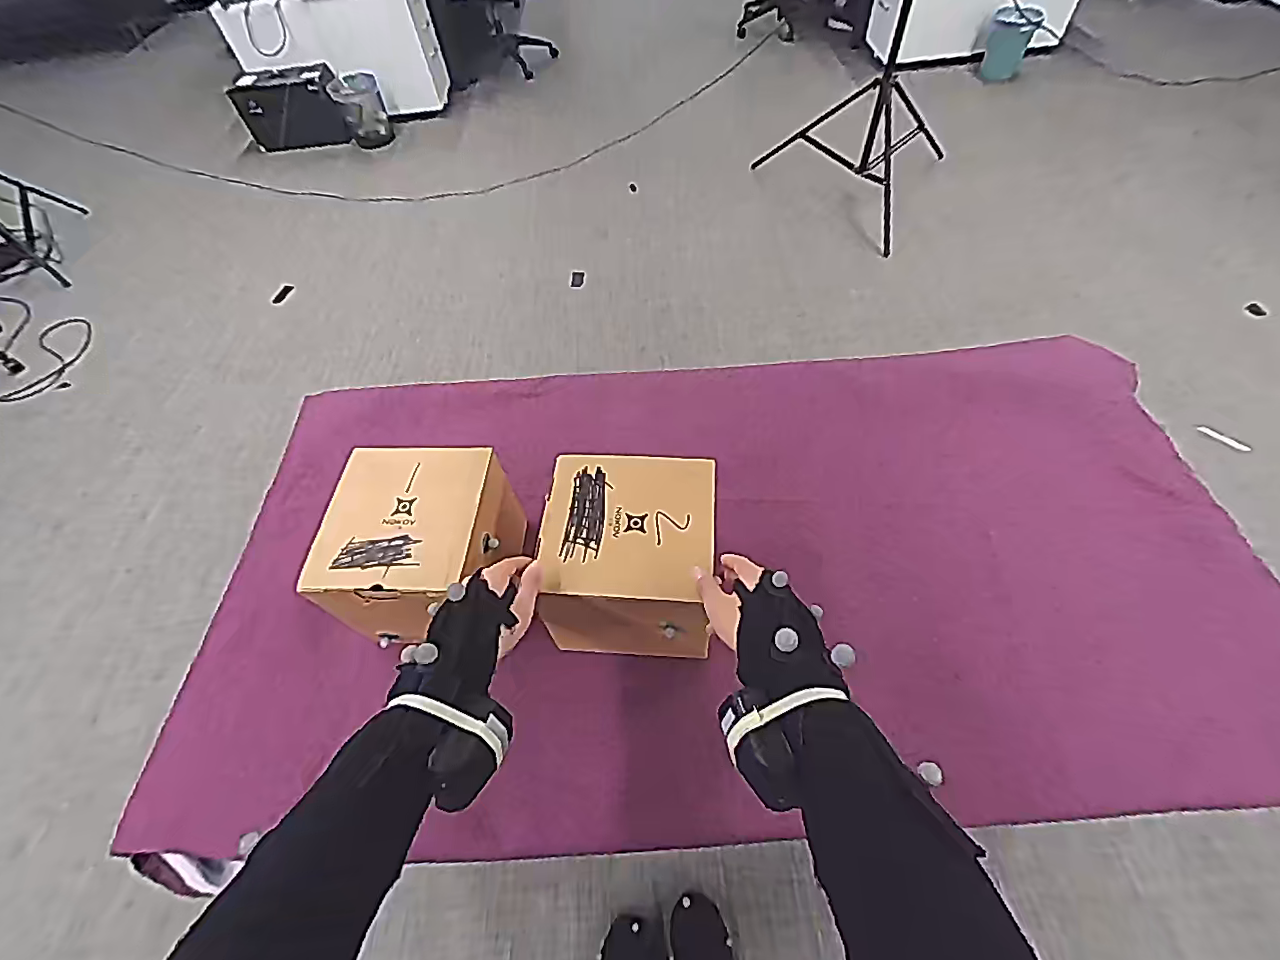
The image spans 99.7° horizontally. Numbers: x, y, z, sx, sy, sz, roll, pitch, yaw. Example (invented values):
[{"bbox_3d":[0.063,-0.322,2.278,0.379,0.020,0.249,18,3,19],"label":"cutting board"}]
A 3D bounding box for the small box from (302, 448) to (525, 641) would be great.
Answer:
[{"bbox_3d":[-0.244,0.081,0.637,0.168,0.176,0.179,0,55,4],"label":"small box"}]
